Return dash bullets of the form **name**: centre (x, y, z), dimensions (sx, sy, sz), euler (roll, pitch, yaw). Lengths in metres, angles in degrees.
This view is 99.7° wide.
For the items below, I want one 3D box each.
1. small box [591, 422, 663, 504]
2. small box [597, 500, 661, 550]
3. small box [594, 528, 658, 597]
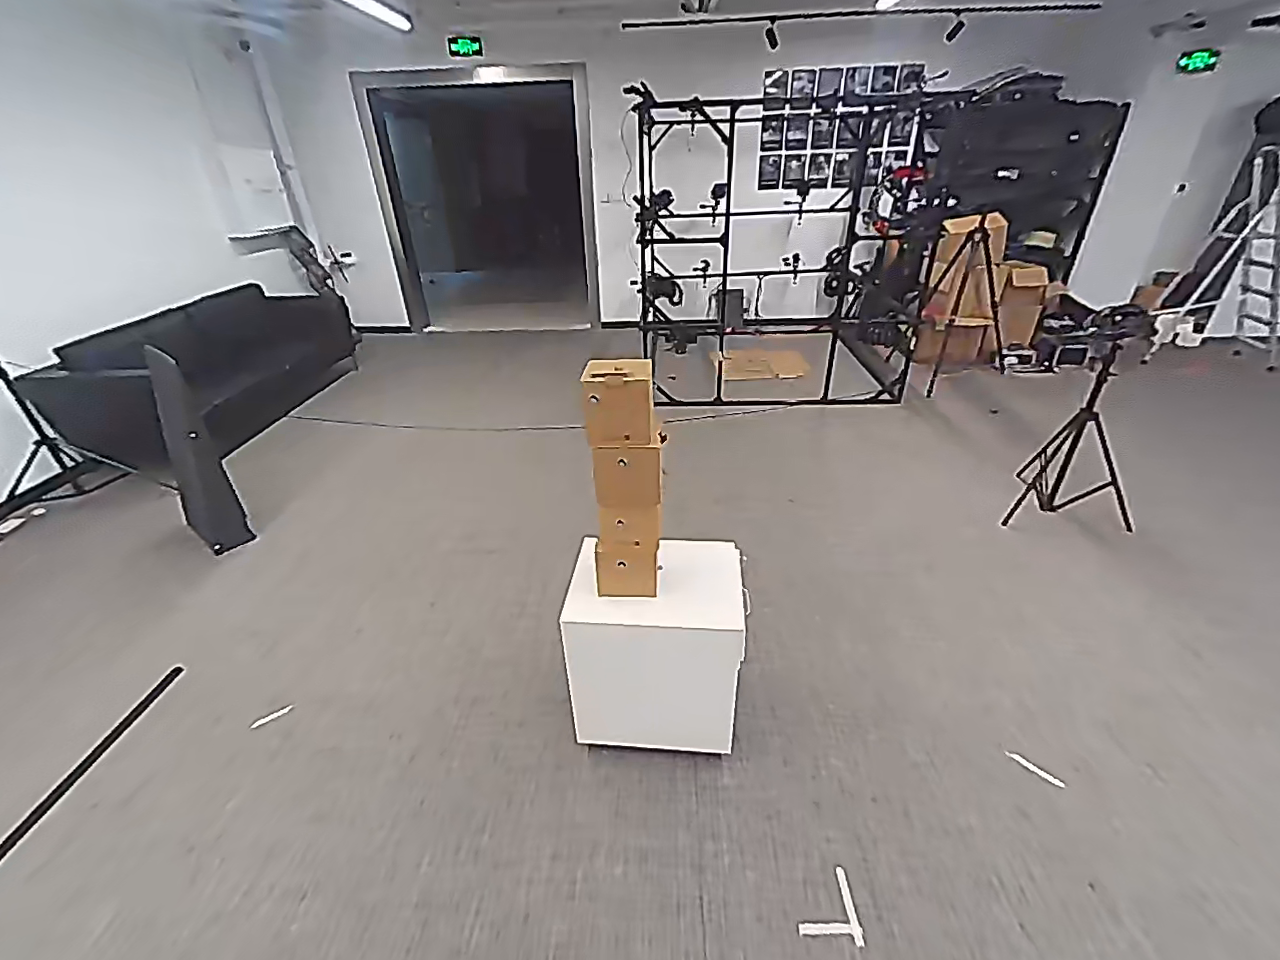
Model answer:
- **small box**: centre (-0.030, -0.046, 1.454), dimensions (0.179, 0.176, 0.168), euler (1, 30, 4)
- **small box**: centre (-0.026, 0.088, 1.552), dimensions (0.168, 0.176, 0.179), euler (1, 30, 4)
- **small box**: centre (-0.036, 0.234, 1.622), dimensions (0.179, 0.176, 0.168), euler (1, 31, 3)
